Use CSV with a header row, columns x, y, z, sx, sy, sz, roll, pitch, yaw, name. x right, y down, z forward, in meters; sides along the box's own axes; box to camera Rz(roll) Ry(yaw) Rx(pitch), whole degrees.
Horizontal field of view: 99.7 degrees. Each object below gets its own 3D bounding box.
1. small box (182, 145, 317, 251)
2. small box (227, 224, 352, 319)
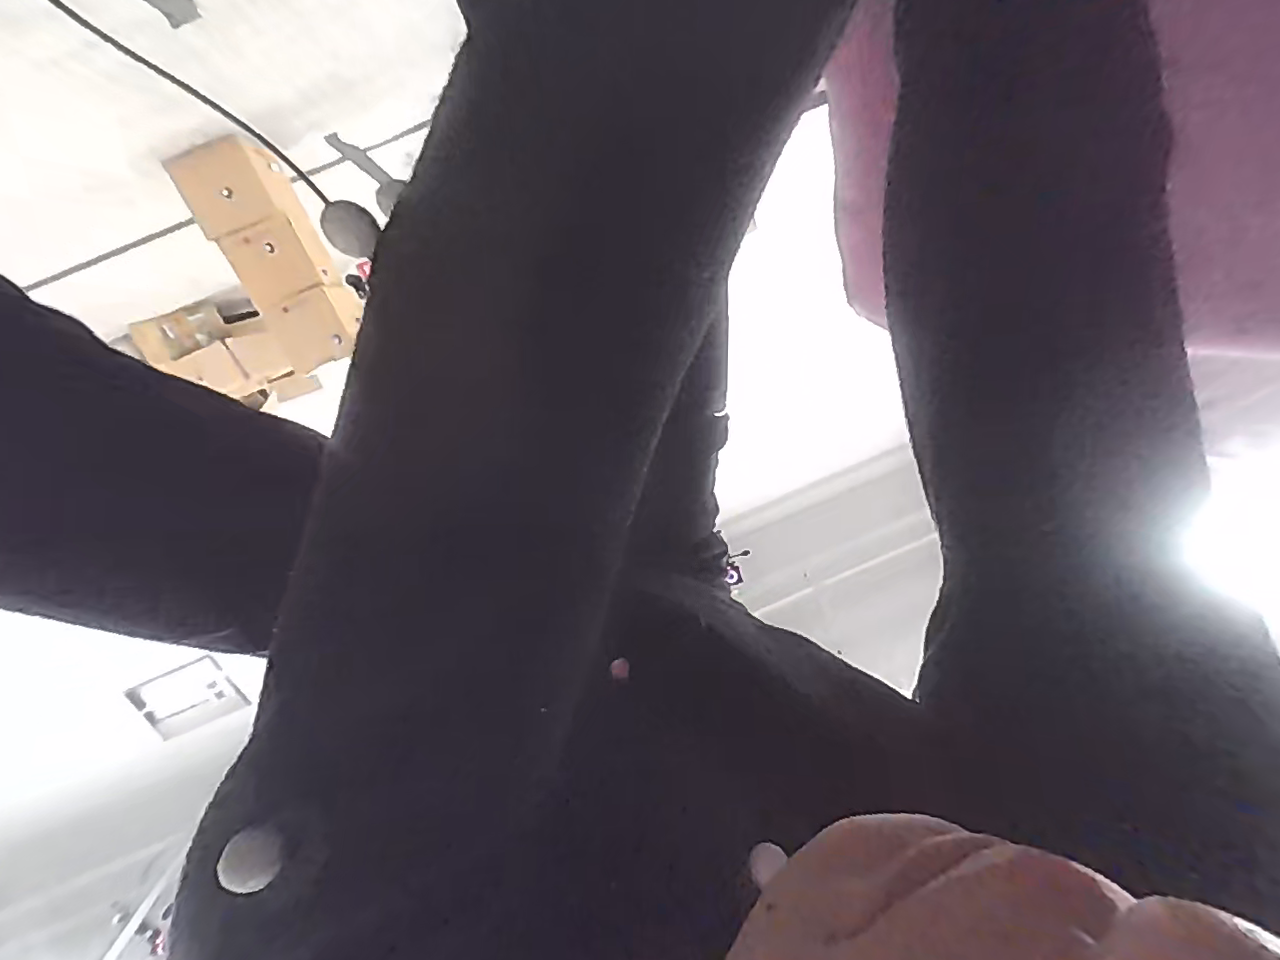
x,y,z,sx,sy,sz,roll,pitch,yaw,name
-0.916,-0.648,1.269,0.179,0.176,0.168,-23,-161,1,small box
-0.855,-0.511,1.333,0.168,0.176,0.179,-24,-162,-3,small box
